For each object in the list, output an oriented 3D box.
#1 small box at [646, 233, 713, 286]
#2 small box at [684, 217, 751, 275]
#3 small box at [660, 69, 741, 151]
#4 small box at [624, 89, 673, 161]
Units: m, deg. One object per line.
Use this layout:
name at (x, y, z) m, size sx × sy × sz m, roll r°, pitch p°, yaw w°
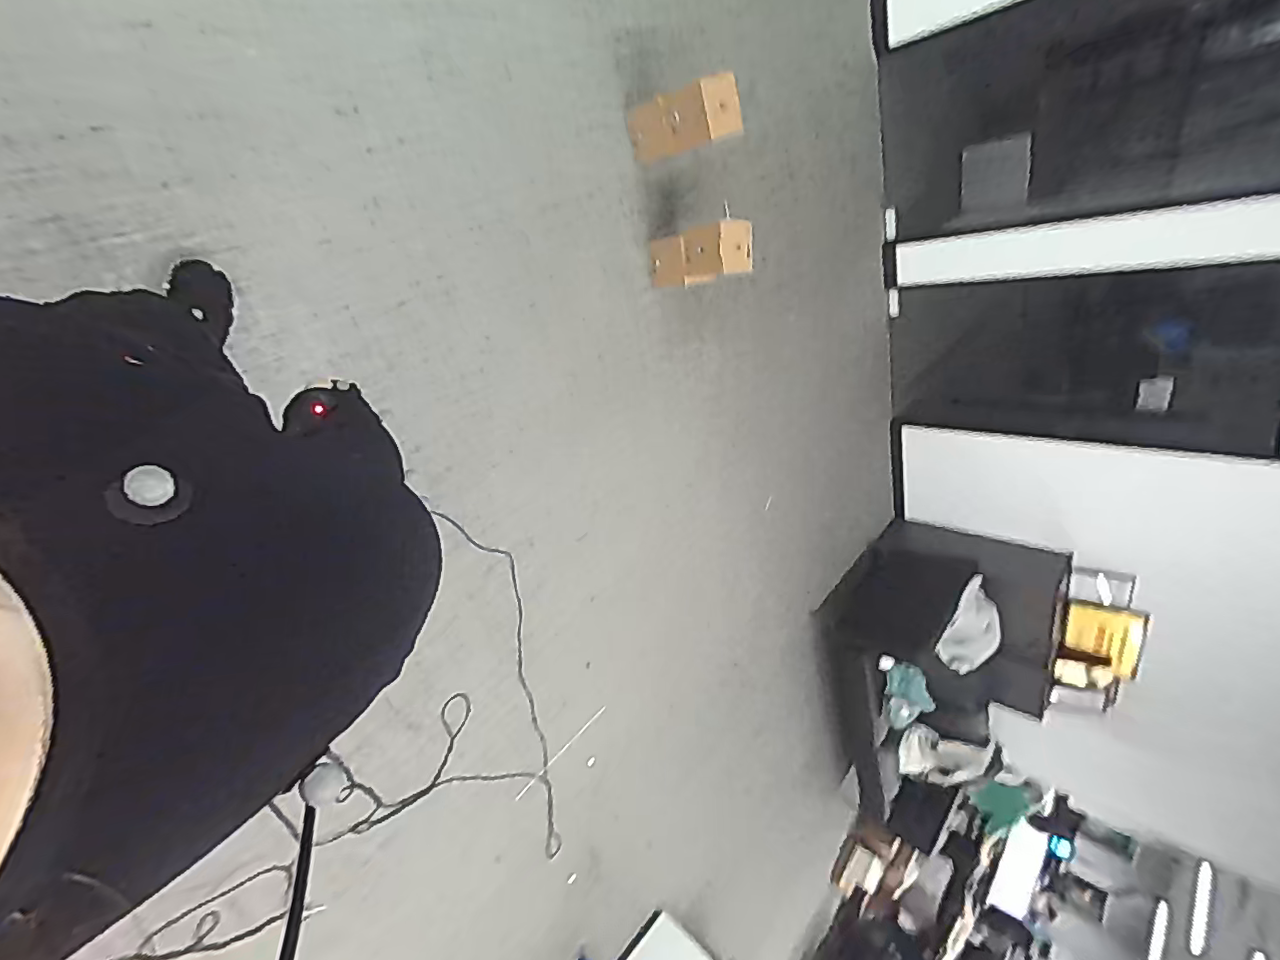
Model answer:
small box at (0.147, -0.818, 1.997) m, size 0.179 × 0.176 × 0.168 m, roll -25°, pitch 117°, yaw -38°
small box at (0.265, -0.809, 1.882) m, size 0.179 × 0.176 × 0.168 m, roll -21°, pitch 114°, yaw -40°
small box at (0.193, -1.171, 1.718) m, size 0.179 × 0.176 × 0.168 m, roll -40°, pitch 125°, yaw -31°
small box at (0.075, -1.203, 1.825) m, size 0.179 × 0.176 × 0.168 m, roll -40°, pitch 126°, yaw -31°
